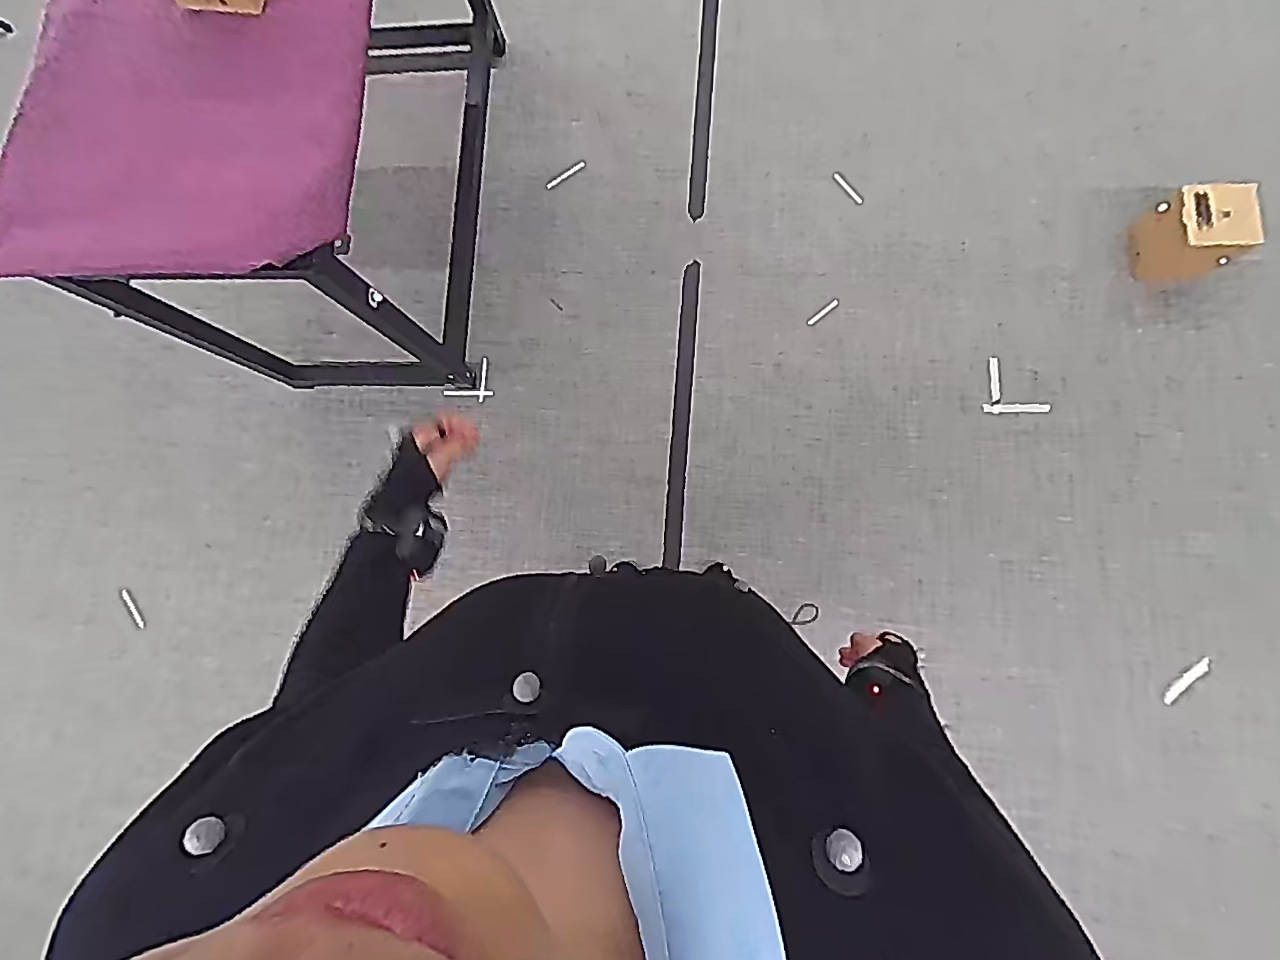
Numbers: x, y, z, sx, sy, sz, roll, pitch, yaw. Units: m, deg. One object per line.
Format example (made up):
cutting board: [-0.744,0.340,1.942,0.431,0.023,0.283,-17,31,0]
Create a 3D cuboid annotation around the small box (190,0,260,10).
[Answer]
small box: [-0.754,-0.948,0.913,0.168,0.176,0.179,10,83,6]
